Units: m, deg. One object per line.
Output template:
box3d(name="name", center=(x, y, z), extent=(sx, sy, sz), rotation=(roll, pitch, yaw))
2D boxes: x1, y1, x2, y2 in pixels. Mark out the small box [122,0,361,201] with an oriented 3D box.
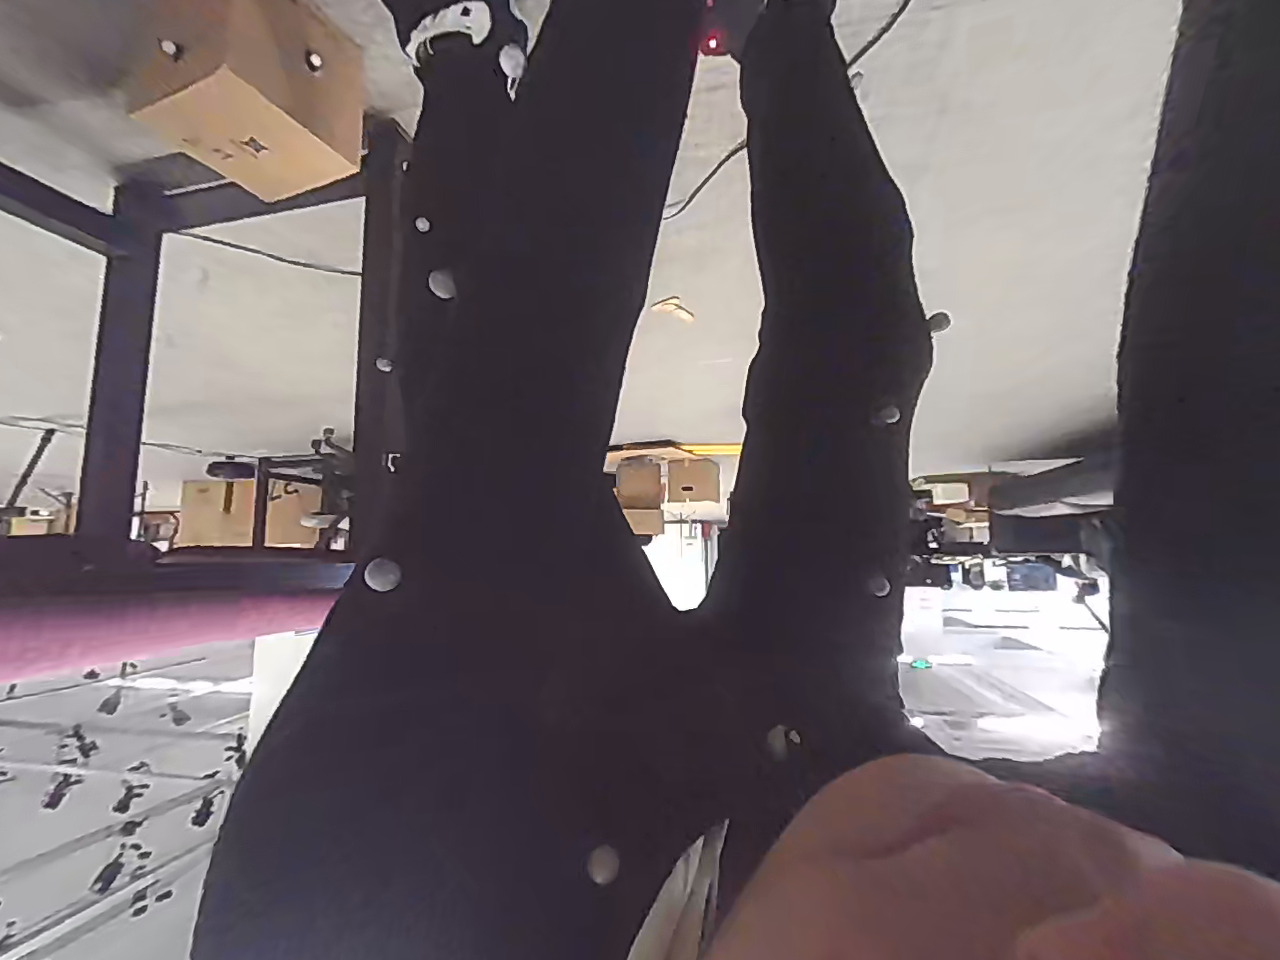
box3d(name="small box", center=(-0.463, -0.476, 0.644), extent=(0.179, 0.176, 0.168), rotation=(-3, 172, 21))
